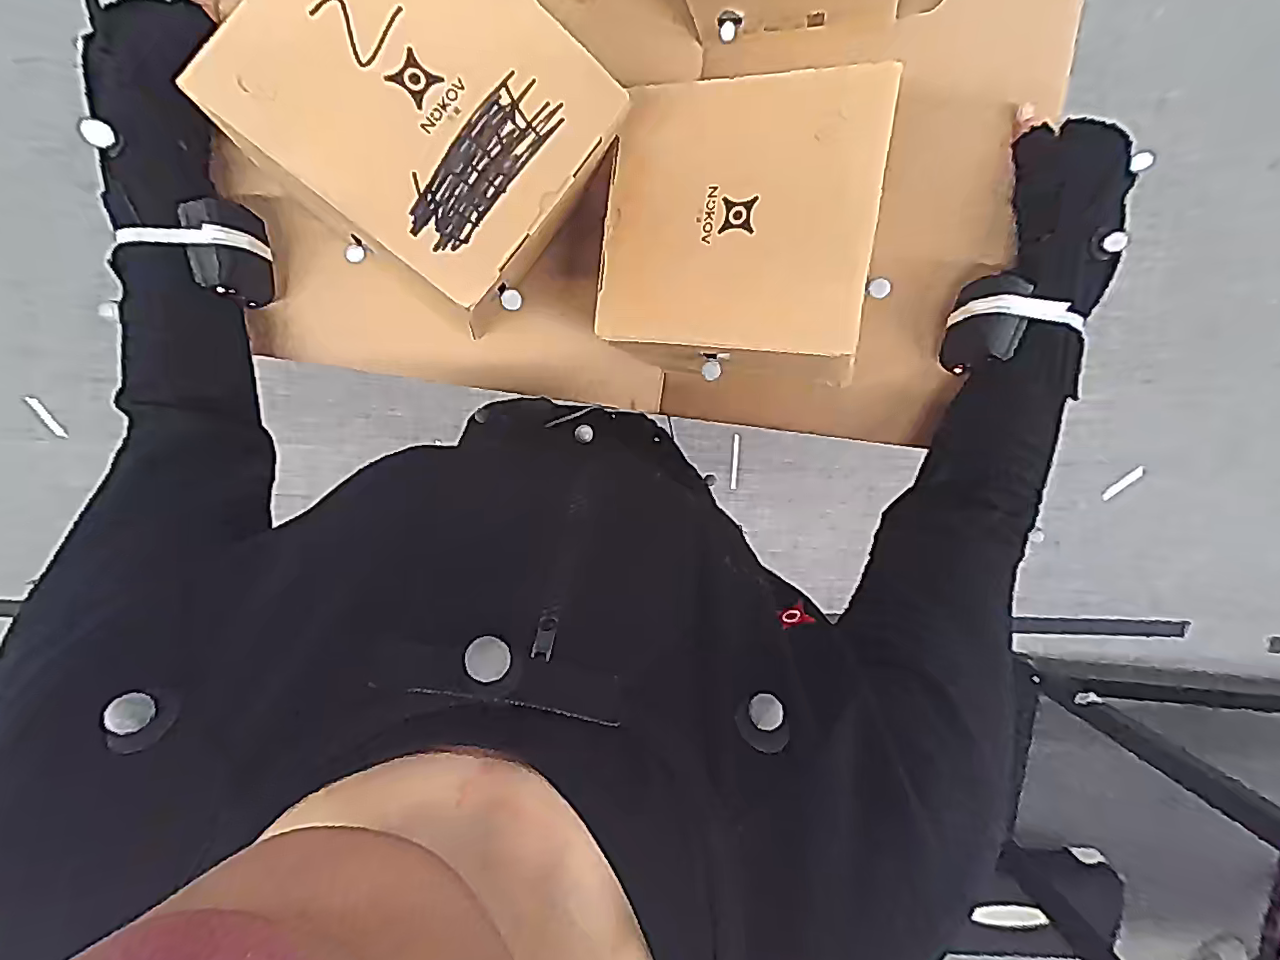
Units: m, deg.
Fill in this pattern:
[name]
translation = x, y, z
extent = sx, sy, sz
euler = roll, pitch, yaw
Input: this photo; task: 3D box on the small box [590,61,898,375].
[small box]
translation = 0.084, -0.177, 0.418
extent = 0.179, 0.176, 0.168
euler = 10, 97, 21
